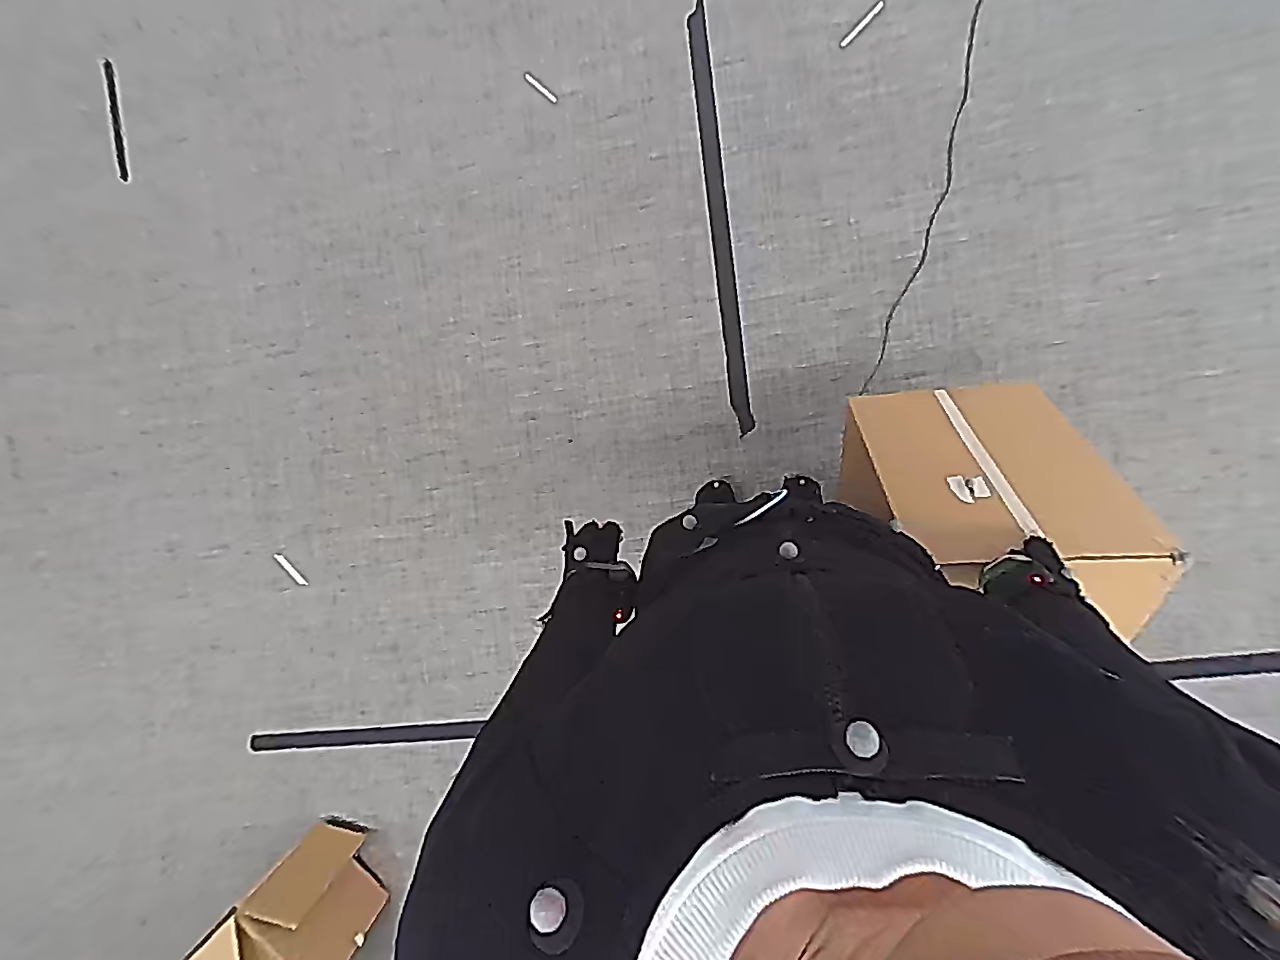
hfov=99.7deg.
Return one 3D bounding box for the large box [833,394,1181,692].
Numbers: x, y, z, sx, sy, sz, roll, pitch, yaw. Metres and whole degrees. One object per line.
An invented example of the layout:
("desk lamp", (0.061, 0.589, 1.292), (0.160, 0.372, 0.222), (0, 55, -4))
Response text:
("large box", (0.538, 0.097, 0.919), (0.320, 0.408, 0.320), (-4, 130, 9))
